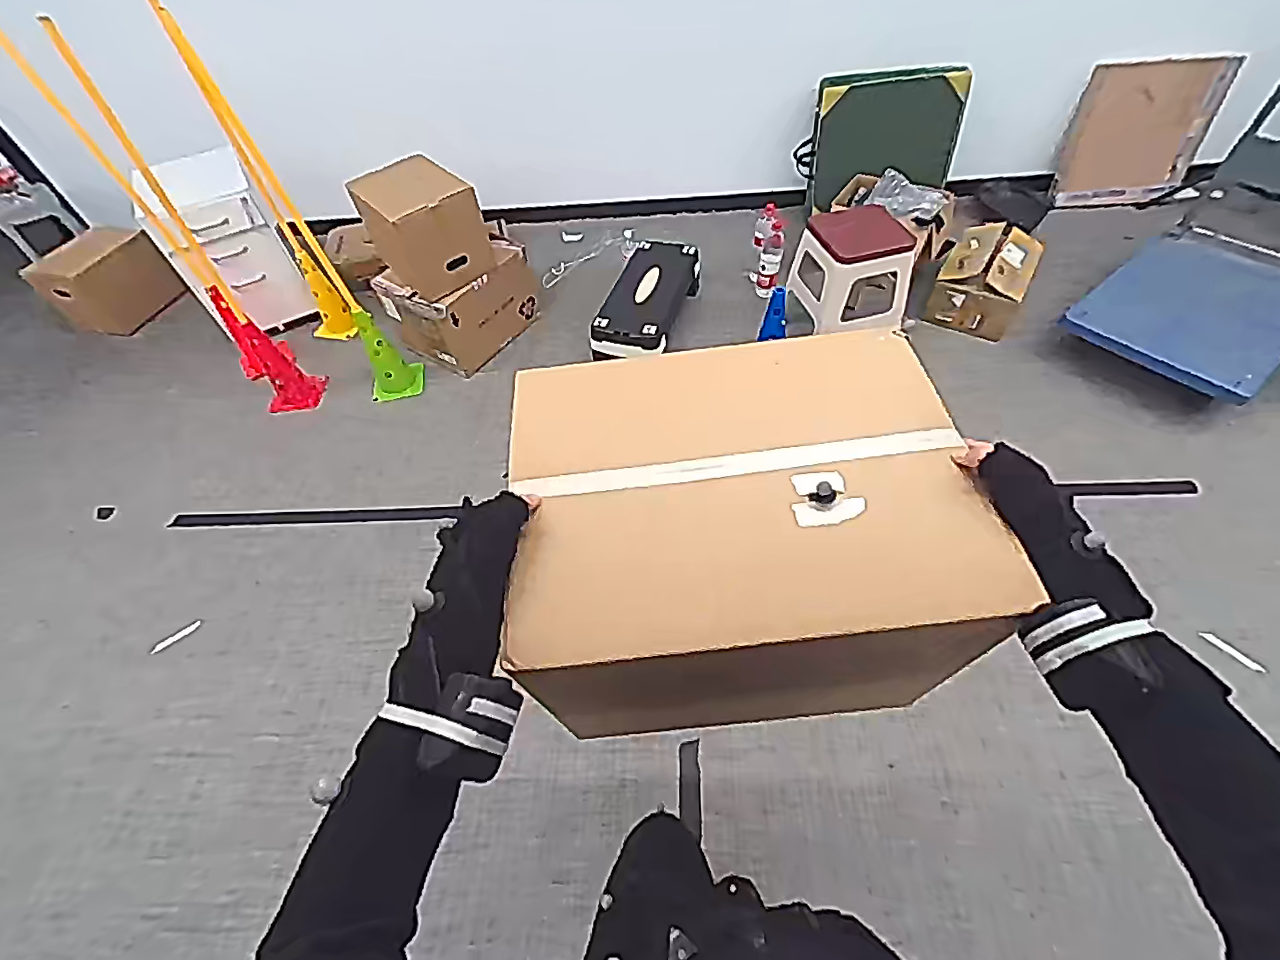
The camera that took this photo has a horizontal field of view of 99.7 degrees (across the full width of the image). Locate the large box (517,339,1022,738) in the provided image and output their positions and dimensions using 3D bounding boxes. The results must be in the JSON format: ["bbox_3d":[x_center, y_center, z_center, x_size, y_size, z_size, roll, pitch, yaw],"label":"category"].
[{"bbox_3d":[0.095,0.081,0.622,0.408,0.320,0.320,-7,55,1],"label":"large box"}]
